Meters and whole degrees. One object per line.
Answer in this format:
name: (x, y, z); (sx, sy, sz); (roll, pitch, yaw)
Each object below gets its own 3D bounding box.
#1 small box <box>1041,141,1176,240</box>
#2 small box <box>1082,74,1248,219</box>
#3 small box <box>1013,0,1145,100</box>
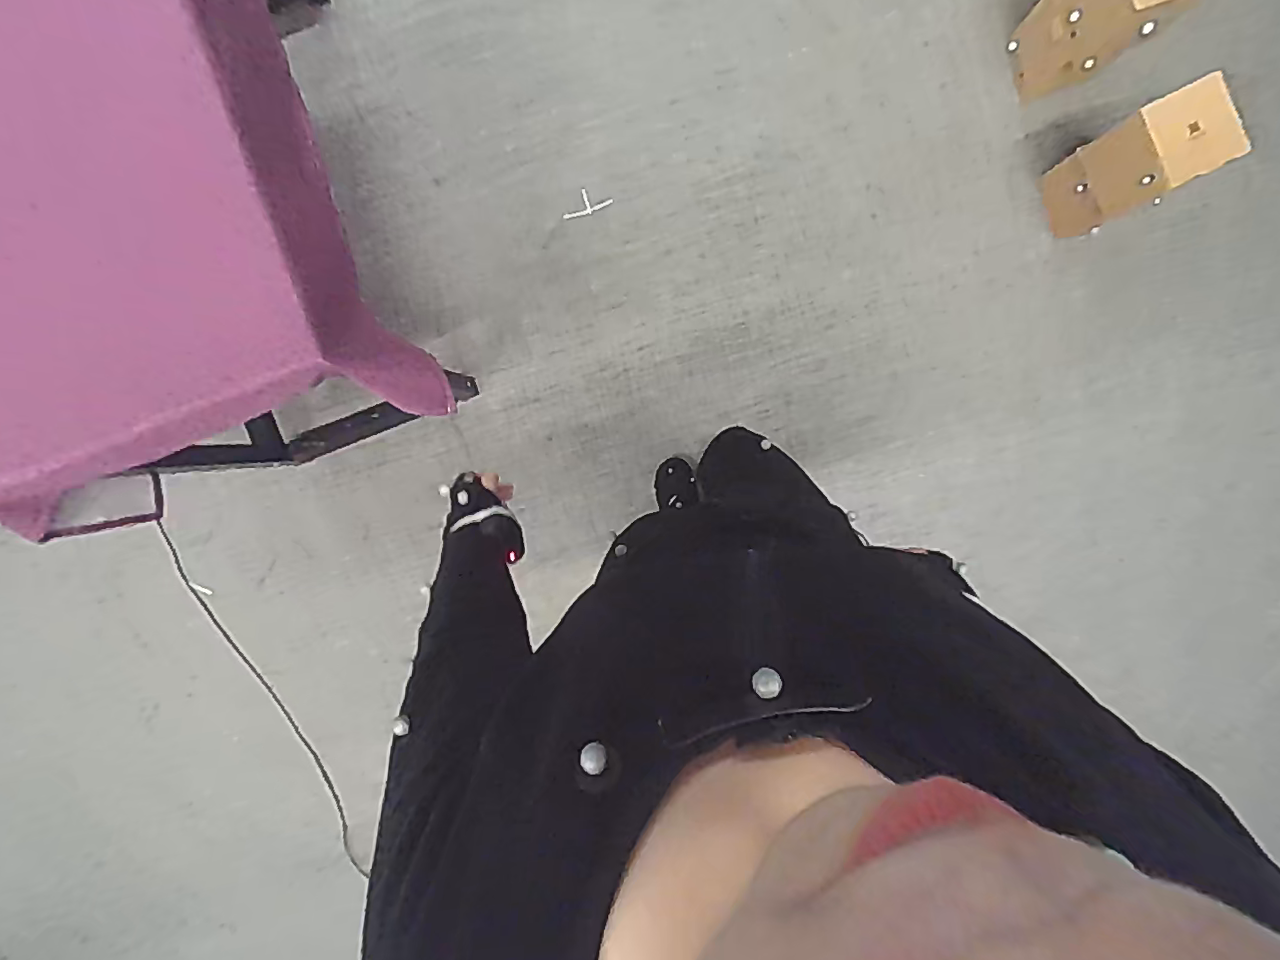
small box: (1.132, -0.723, 1.321); (0.168, 0.176, 0.179); (-20, 94, 5)
small box: (1.109, -0.703, 1.161); (0.168, 0.176, 0.179); (-25, 93, 5)
small box: (1.038, -1.063, 1.299); (0.179, 0.176, 0.168); (-17, 93, 3)
